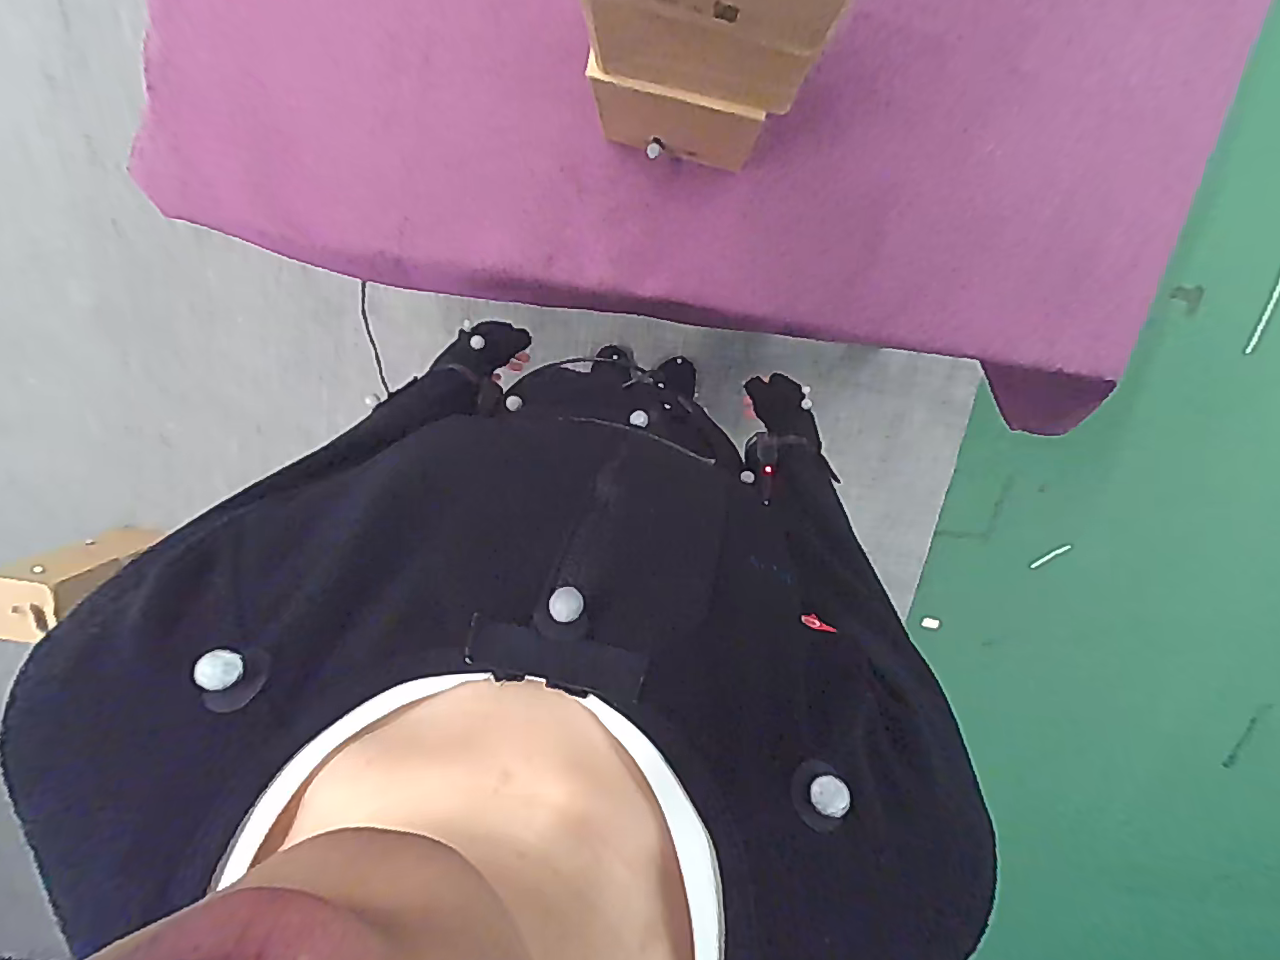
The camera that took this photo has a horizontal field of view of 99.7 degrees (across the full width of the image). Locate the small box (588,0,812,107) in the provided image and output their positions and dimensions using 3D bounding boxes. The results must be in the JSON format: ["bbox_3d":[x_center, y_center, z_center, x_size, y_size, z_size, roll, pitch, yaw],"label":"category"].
[{"bbox_3d":[0.059,-0.395,0.376,0.179,0.176,0.168,12,105,-2],"label":"small box"}]

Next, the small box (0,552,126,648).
[{"bbox_3d":[-1.437,0.293,1.346,0.179,0.176,0.168,7,105,0],"label":"small box"}]

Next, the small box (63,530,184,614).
[{"bbox_3d":[-1.427,0.250,1.505,0.179,0.176,0.168,8,106,-1],"label":"small box"}]

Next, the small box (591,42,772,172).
[{"bbox_3d":[0.056,-0.437,0.532,0.168,0.176,0.179,13,106,-2],"label":"small box"}]
